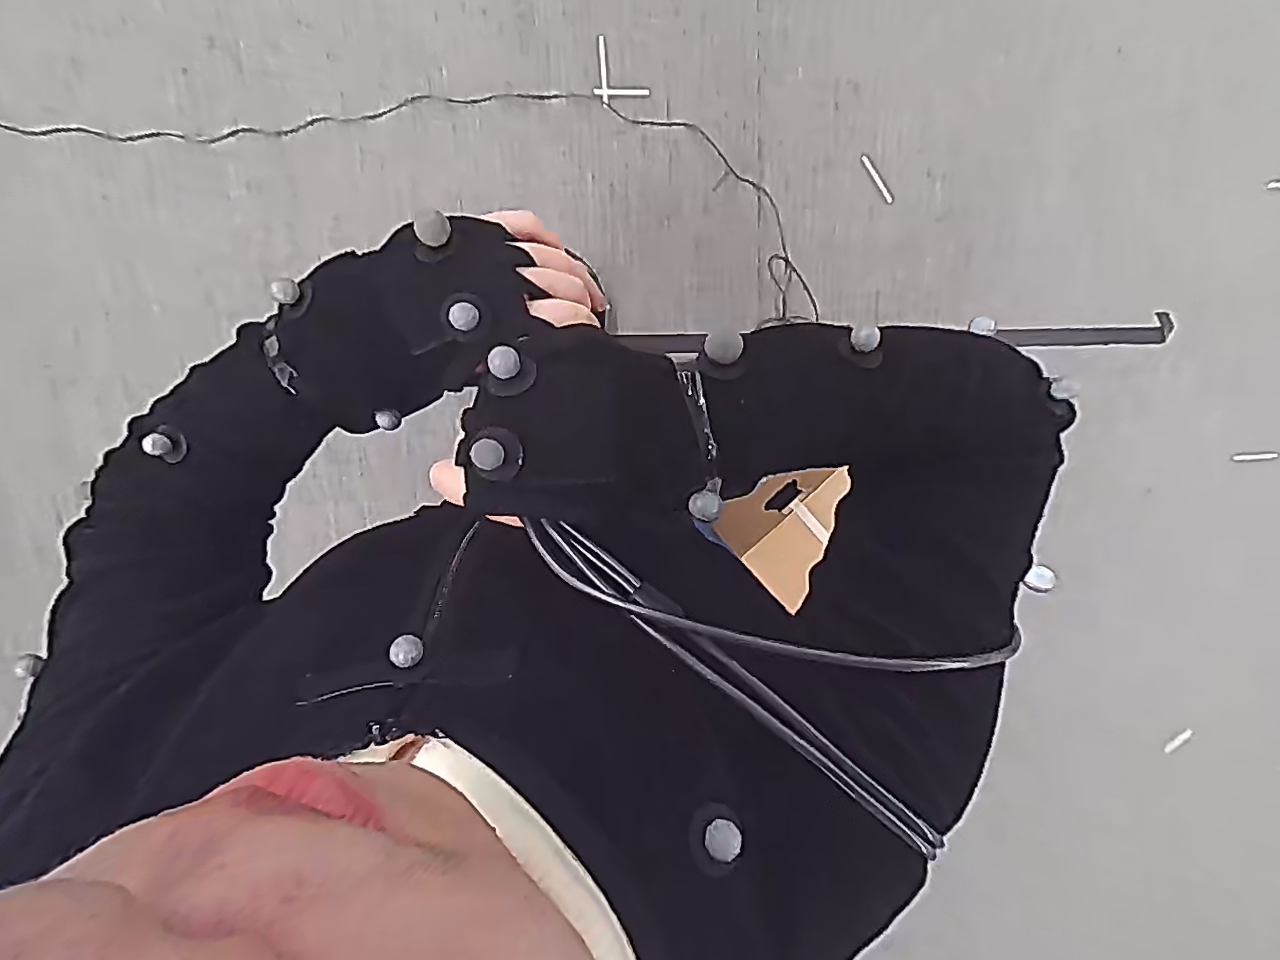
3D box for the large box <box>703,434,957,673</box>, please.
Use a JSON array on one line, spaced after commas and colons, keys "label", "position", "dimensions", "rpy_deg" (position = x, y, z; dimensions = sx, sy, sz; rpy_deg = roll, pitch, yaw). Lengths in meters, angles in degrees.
[{"label": "large box", "position": [0.413, 0.149, 1.256], "dimensions": [0.320, 0.320, 0.408], "rpy_deg": [-42, 104, 3]}]
